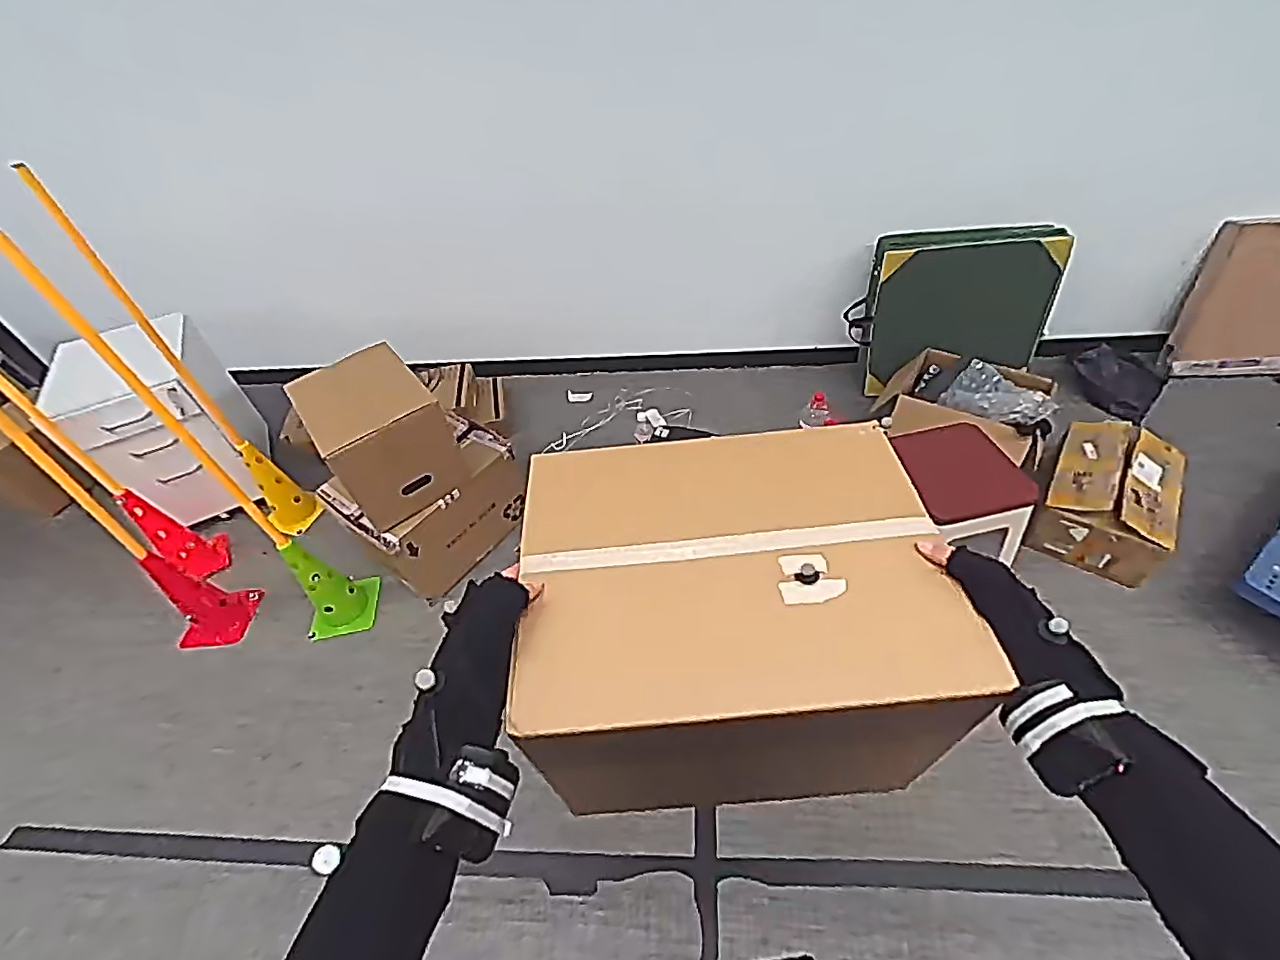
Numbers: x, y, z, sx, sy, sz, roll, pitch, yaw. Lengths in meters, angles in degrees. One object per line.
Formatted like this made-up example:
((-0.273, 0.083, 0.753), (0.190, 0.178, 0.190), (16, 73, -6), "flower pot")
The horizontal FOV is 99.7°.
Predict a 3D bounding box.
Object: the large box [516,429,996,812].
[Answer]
((0.094, 0.172, 0.647), (0.408, 0.320, 0.320), (-6, 48, 1), "large box")
